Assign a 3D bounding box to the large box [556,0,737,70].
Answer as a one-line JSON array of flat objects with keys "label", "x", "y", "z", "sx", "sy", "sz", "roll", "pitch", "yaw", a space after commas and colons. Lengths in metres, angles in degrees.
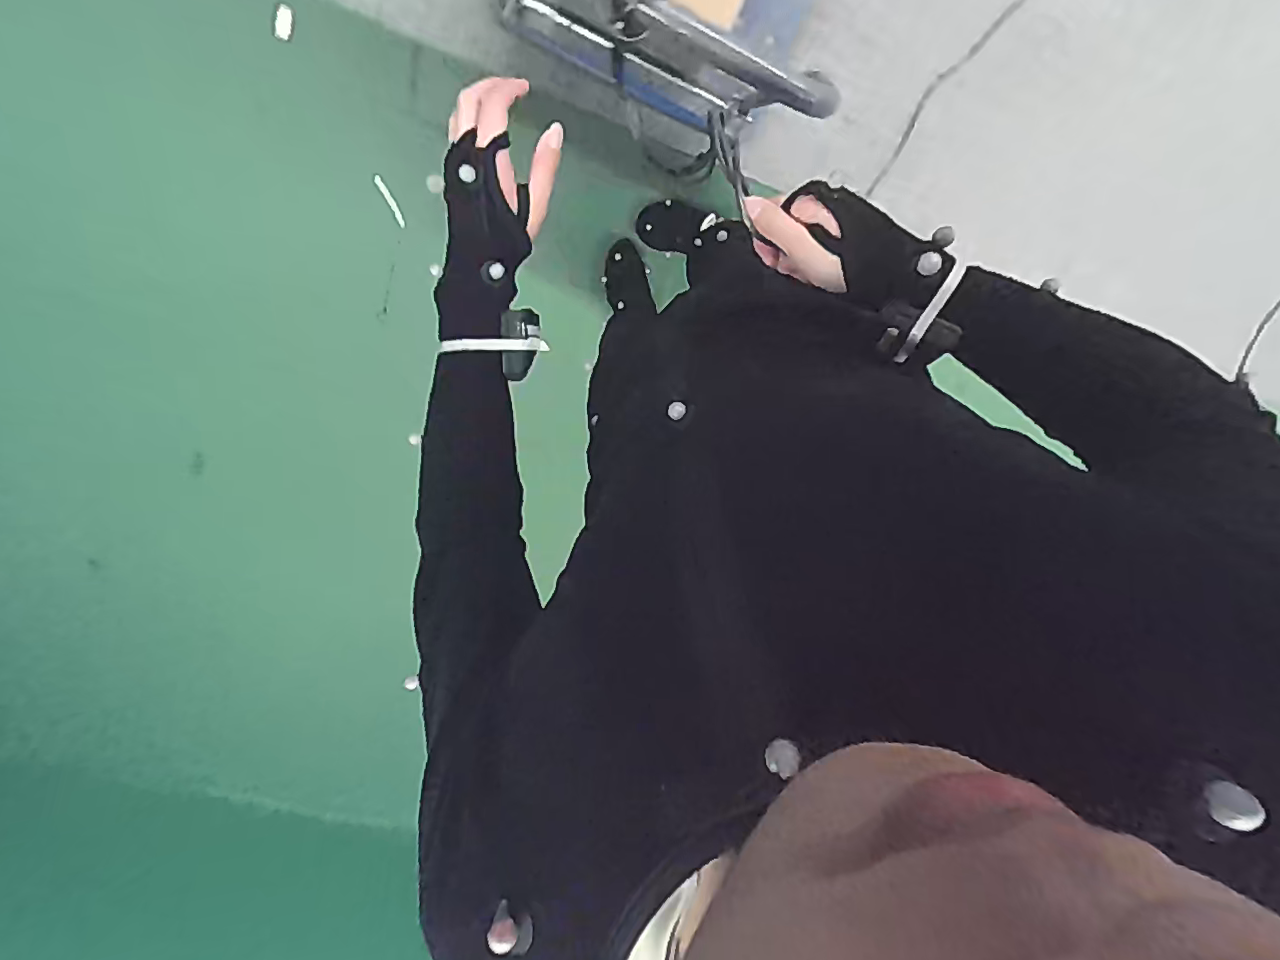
[{"label": "large box", "x": 0.051, "y": -0.968, "z": 0.856, "sx": 0.320, "sy": 0.320, "sz": 0.408, "roll": 18, "pitch": 116, "yaw": -13}]
